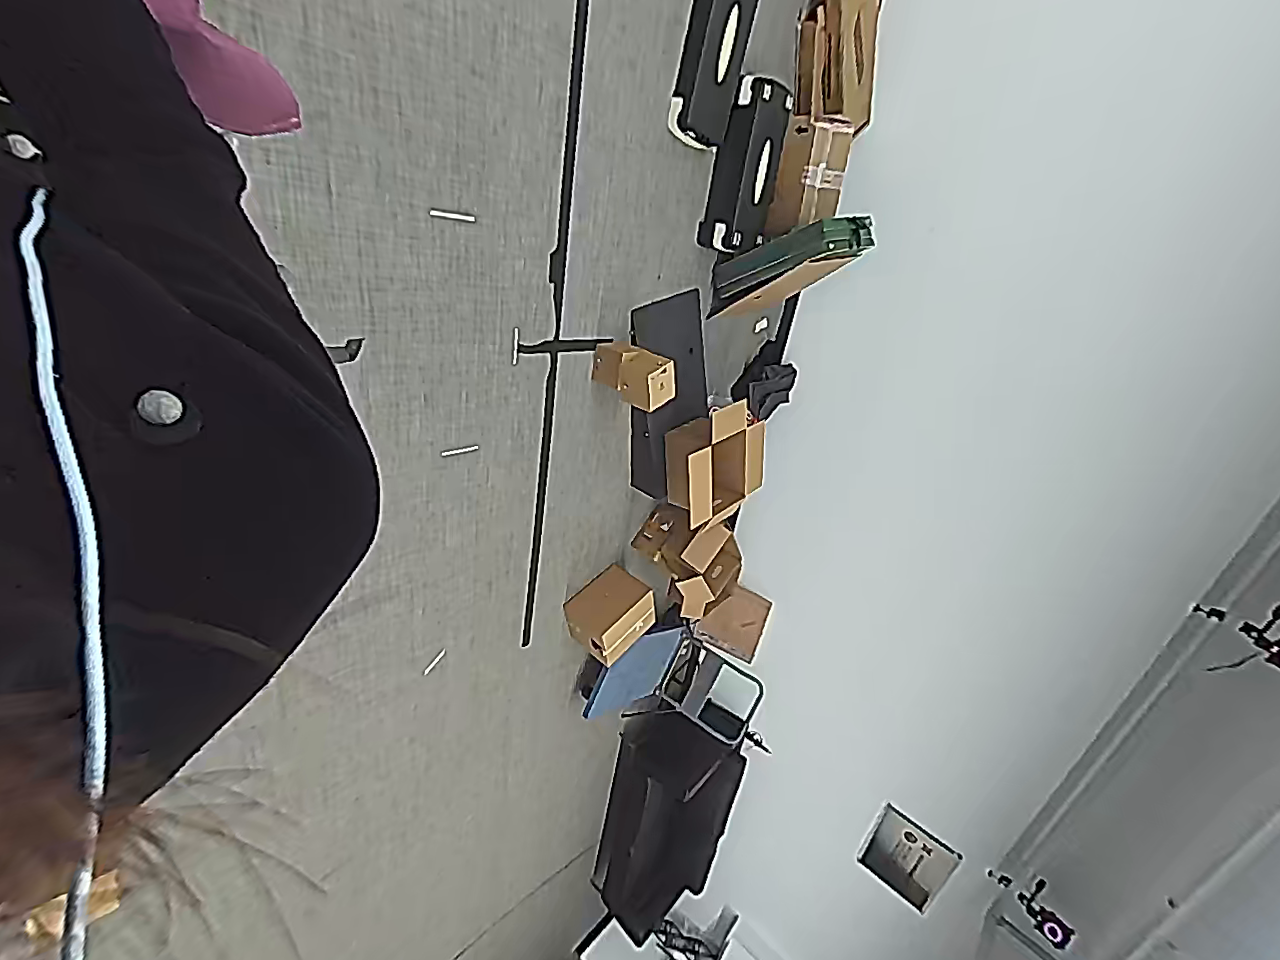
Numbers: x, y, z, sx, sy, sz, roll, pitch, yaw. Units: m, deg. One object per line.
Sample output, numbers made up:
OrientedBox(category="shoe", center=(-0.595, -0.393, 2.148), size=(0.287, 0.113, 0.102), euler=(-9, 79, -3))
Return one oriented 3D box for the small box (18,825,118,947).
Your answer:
OrientedBox(category="small box", center=(-1.623, 1.140, 1.533), size=(0.179, 0.176, 0.168), euler=(-11, 122, -52))
